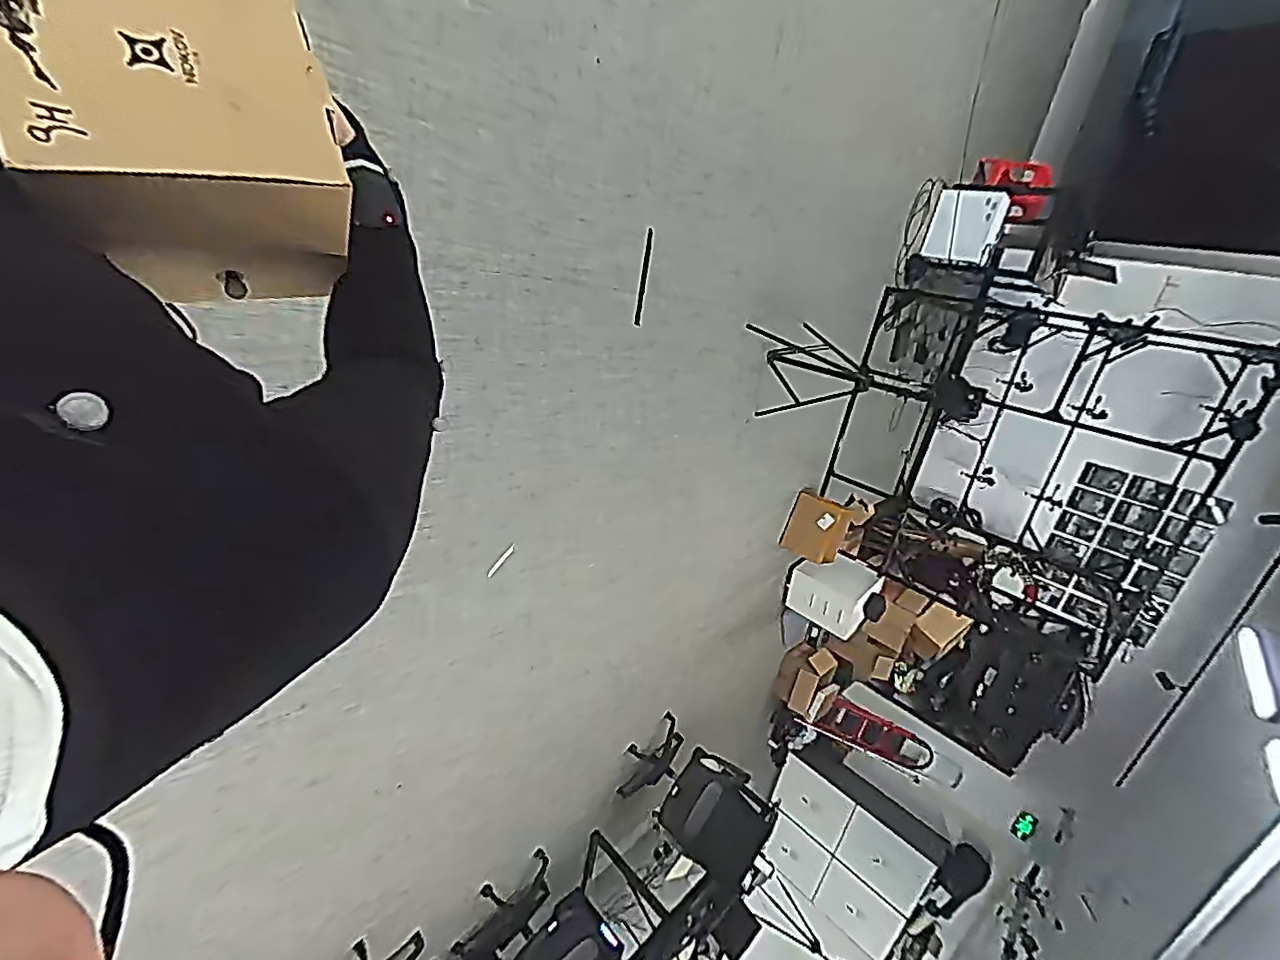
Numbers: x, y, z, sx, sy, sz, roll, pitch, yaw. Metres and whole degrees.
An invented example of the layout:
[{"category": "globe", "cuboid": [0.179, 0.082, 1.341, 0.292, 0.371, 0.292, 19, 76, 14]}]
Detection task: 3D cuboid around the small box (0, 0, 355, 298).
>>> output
[{"category": "small box", "cuboid": [-0.347, -0.259, 0.428, 0.179, 0.176, 0.168, -15, 87, -33]}]
